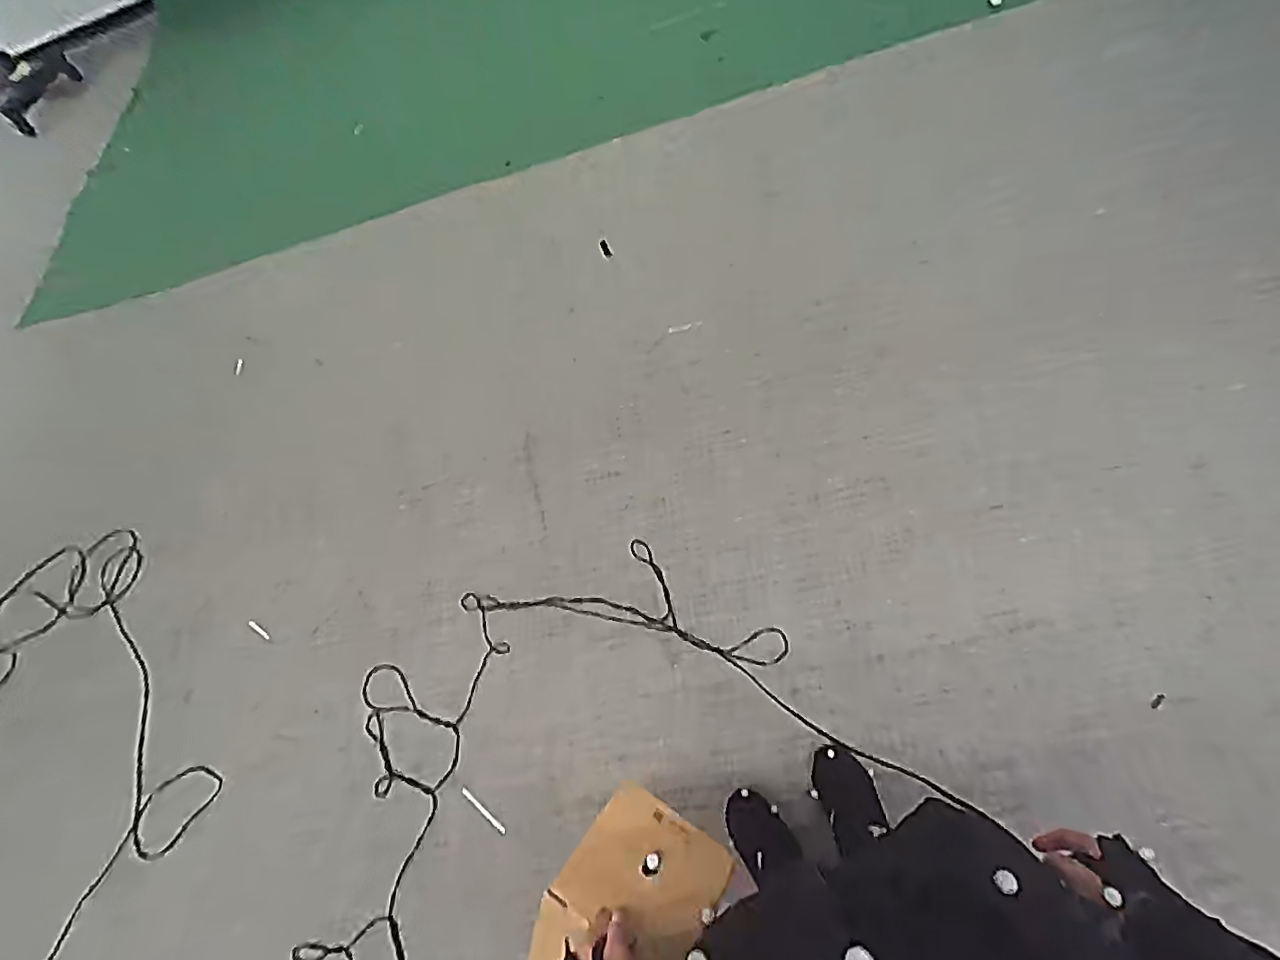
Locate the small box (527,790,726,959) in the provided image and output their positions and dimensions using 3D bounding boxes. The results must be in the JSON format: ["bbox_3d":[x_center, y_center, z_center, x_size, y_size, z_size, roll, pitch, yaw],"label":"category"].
[{"bbox_3d":[-0.011,0.529,0.658,0.168,0.176,0.179,26,117,22],"label":"small box"}]
